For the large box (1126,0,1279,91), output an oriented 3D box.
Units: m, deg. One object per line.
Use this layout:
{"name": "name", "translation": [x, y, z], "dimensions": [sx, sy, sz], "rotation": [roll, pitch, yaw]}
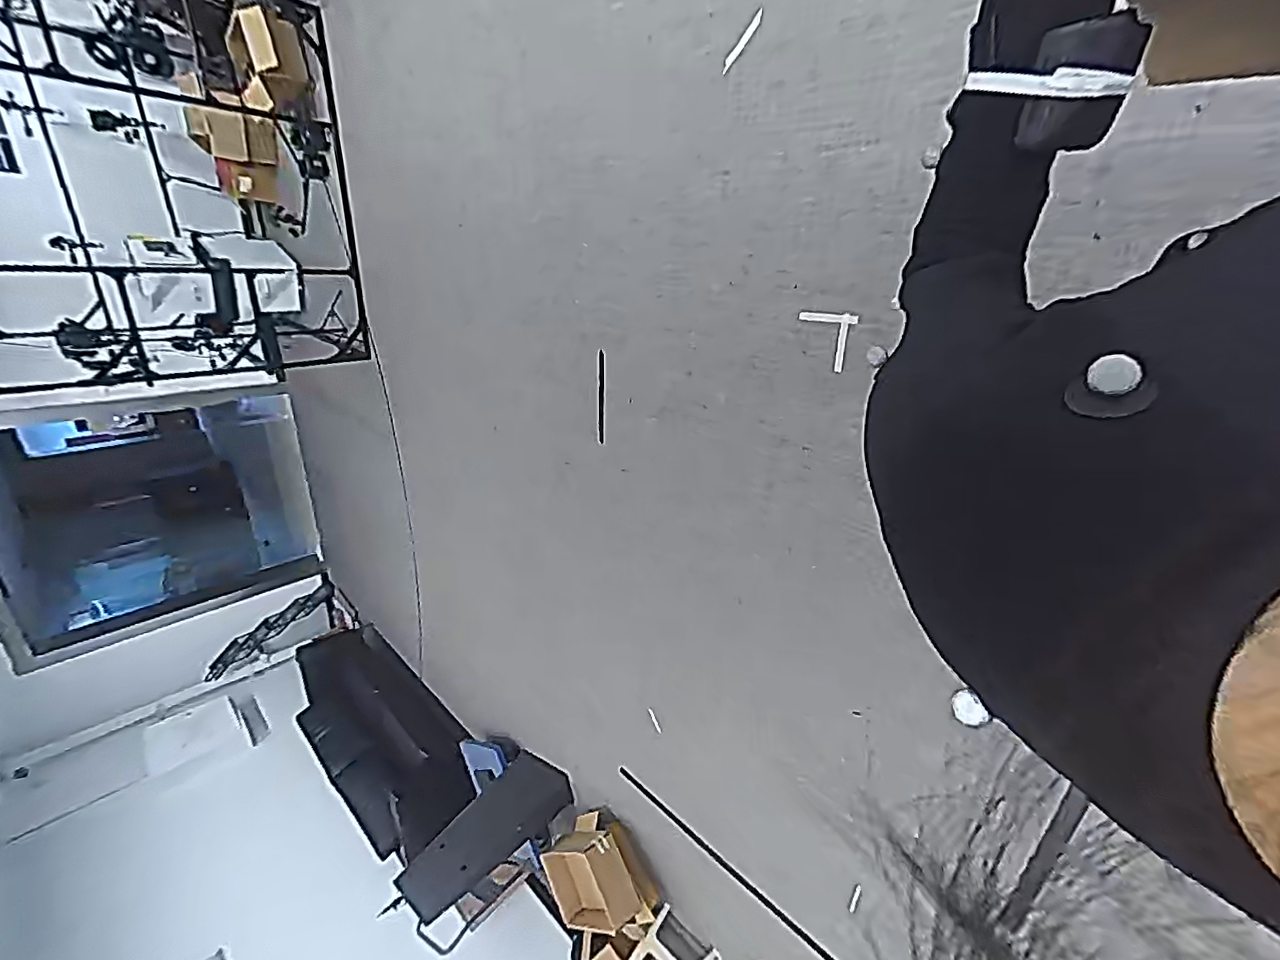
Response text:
{"name": "large box", "translation": [0.509, -0.397, 0.215], "dimensions": [0.408, 0.320, 0.320], "rotation": [24, 122, 38]}
